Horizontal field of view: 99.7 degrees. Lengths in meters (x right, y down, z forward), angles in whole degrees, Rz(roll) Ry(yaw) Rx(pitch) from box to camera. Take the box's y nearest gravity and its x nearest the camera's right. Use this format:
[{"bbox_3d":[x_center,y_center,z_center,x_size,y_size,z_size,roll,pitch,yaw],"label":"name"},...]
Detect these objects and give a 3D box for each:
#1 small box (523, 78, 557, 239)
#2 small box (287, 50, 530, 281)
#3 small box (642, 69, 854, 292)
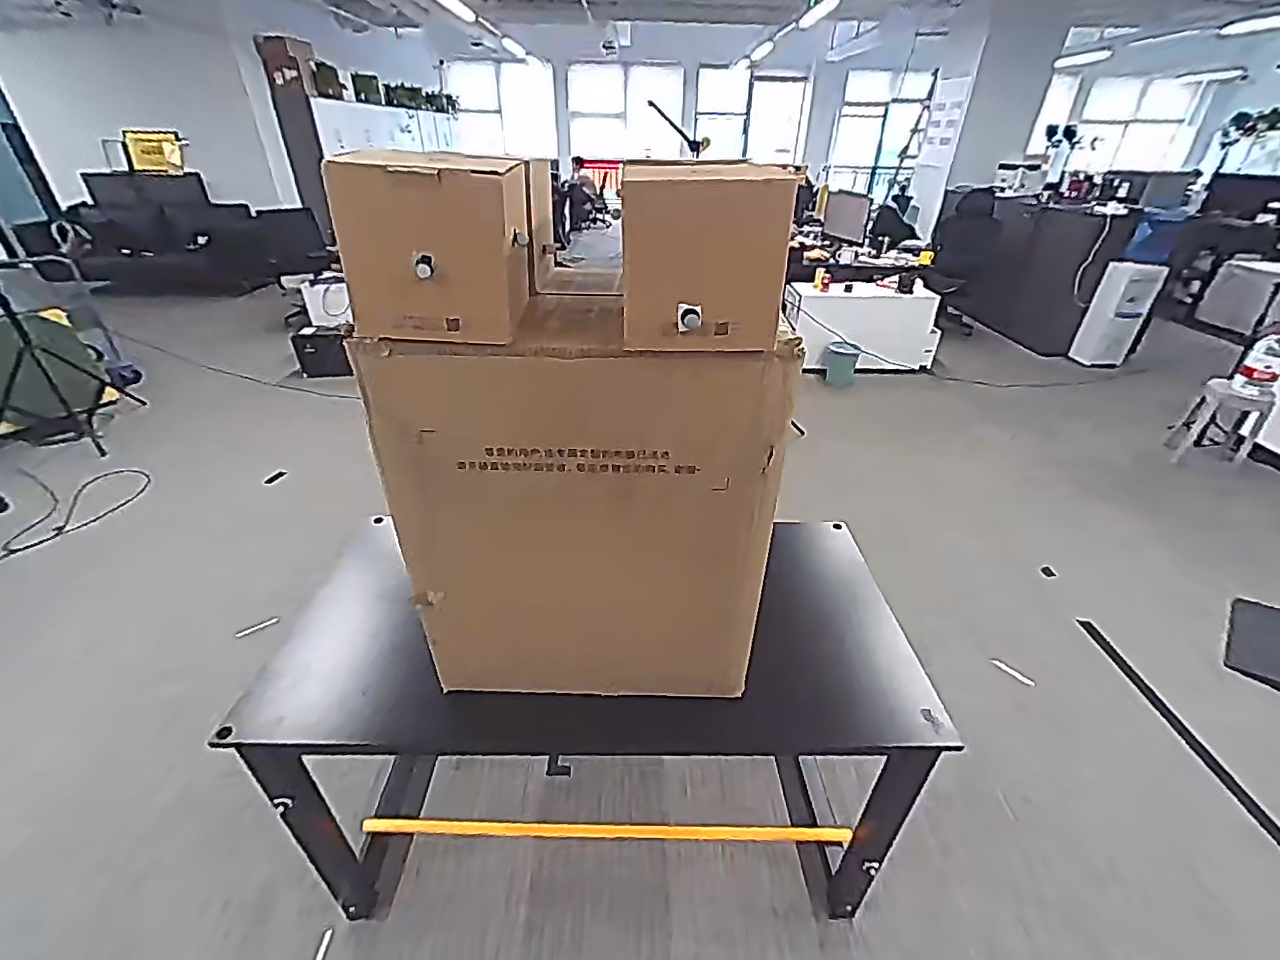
[{"bbox_3d":[-0.209,-0.413,0.703,0.179,0.176,0.168,3,32,0],"label":"small box"},{"bbox_3d":[-0.200,-0.304,0.530,0.168,0.176,0.179,1,35,-7],"label":"small box"},{"bbox_3d":[0.085,-0.293,0.531,0.168,0.176,0.179,-2,35,0],"label":"small box"}]
